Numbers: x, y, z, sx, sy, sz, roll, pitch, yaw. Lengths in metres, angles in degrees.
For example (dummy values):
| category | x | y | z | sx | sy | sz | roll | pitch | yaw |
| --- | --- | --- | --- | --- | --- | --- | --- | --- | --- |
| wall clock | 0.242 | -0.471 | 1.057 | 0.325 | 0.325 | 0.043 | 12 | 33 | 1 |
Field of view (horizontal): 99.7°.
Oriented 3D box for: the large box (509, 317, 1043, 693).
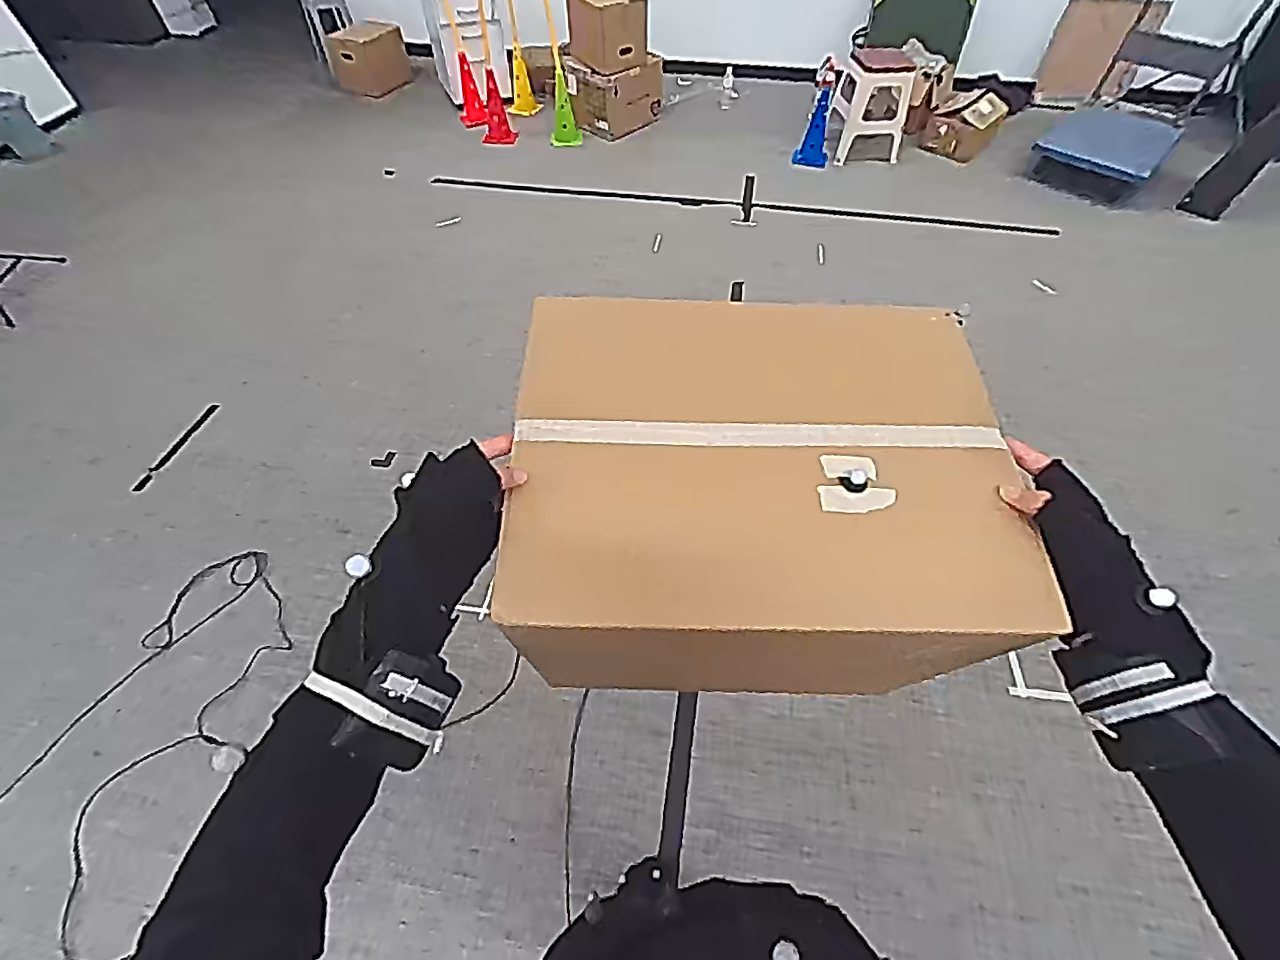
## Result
| category | x | y | z | sx | sy | sz | roll | pitch | yaw |
| --- | --- | --- | --- | --- | --- | --- | --- | --- | --- |
| large box | 0.094 | 0.044 | 0.593 | 0.408 | 0.320 | 0.320 | 0 | 62 | -2 |
